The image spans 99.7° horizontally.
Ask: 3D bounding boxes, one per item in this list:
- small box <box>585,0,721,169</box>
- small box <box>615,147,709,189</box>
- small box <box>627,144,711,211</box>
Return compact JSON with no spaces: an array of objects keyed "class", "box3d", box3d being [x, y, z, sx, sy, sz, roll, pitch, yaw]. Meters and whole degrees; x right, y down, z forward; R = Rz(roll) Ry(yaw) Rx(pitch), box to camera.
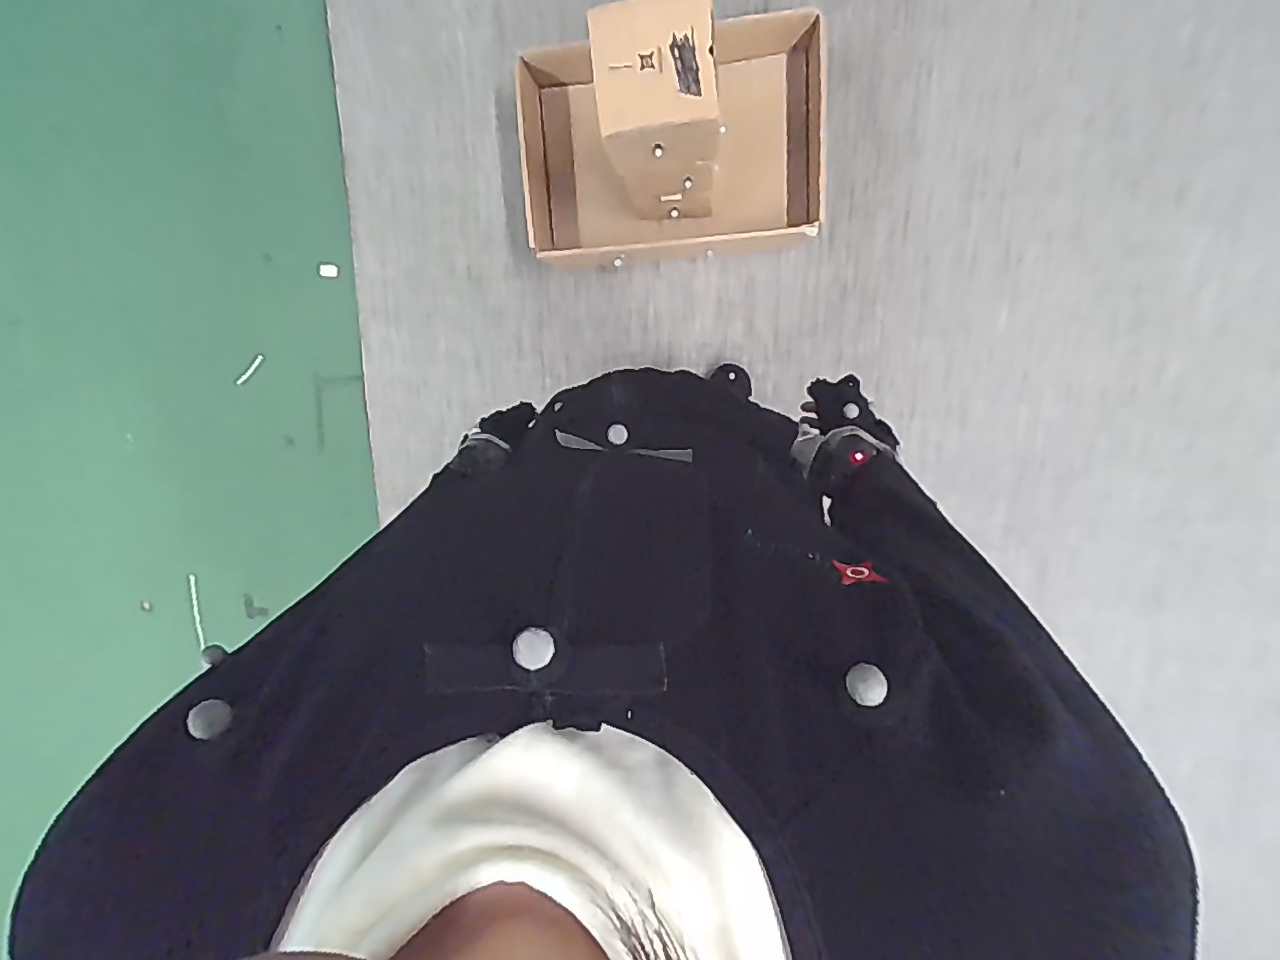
[{"class":"small box","box3d":[0.025,-0.610,0.840,0.179,0.176,0.168,-7,102,8]},{"class":"small box","box3d":[0.045,-0.654,0.998,0.168,0.176,0.179,0,101,7]},{"class":"small box","box3d":[0.065,-0.686,1.155,0.168,0.176,0.179,1,103,8]}]
